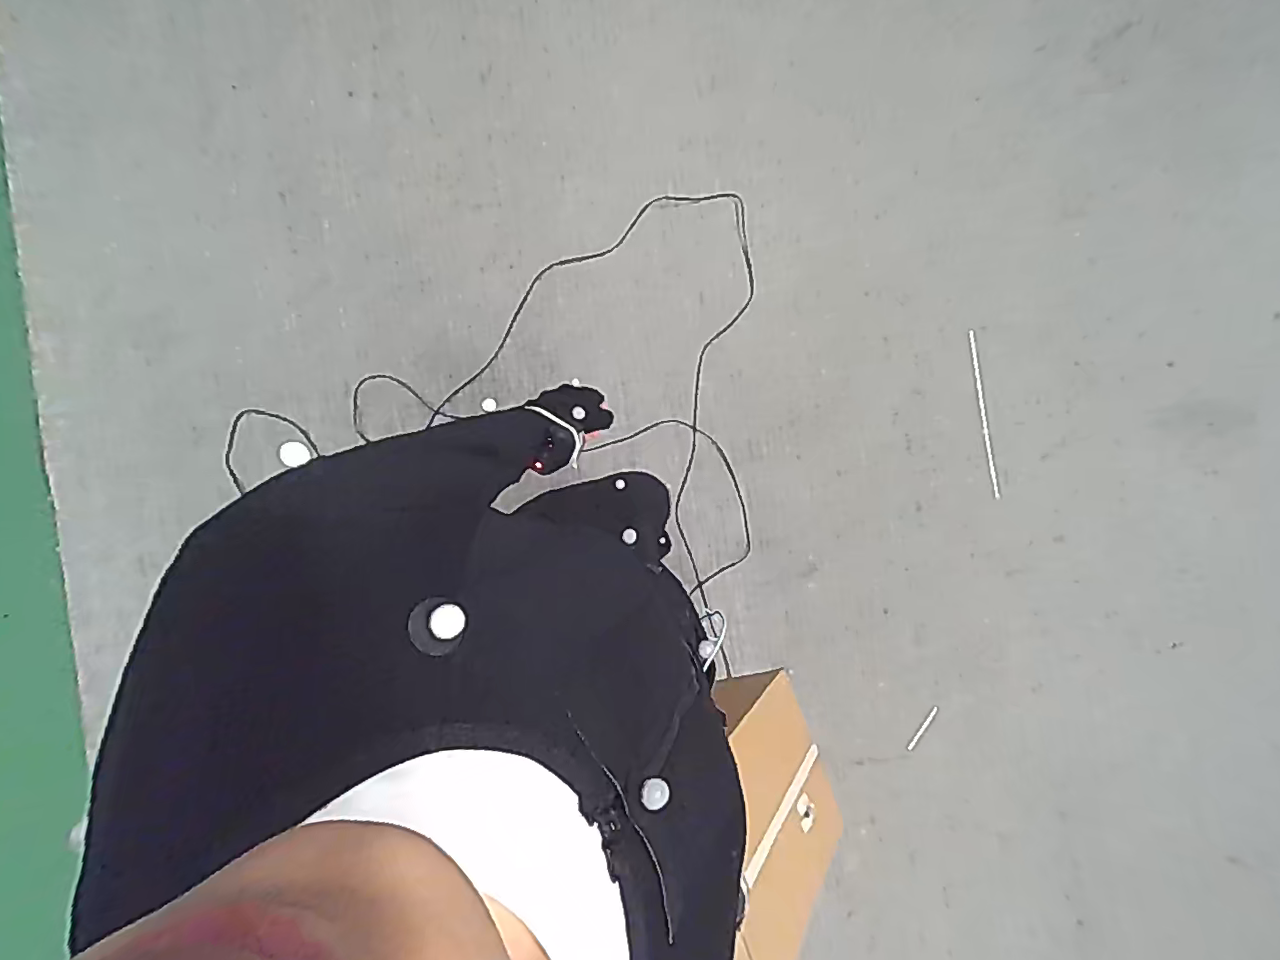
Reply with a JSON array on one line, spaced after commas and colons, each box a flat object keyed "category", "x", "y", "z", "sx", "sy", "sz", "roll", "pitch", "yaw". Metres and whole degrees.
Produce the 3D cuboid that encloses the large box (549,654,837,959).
[{"category": "large box", "x": 0.112, "y": 0.567, "z": 0.985, "sx": 0.320, "sy": 0.408, "sz": 0.320, "roll": -23, "pitch": 85, "yaw": 33}]
